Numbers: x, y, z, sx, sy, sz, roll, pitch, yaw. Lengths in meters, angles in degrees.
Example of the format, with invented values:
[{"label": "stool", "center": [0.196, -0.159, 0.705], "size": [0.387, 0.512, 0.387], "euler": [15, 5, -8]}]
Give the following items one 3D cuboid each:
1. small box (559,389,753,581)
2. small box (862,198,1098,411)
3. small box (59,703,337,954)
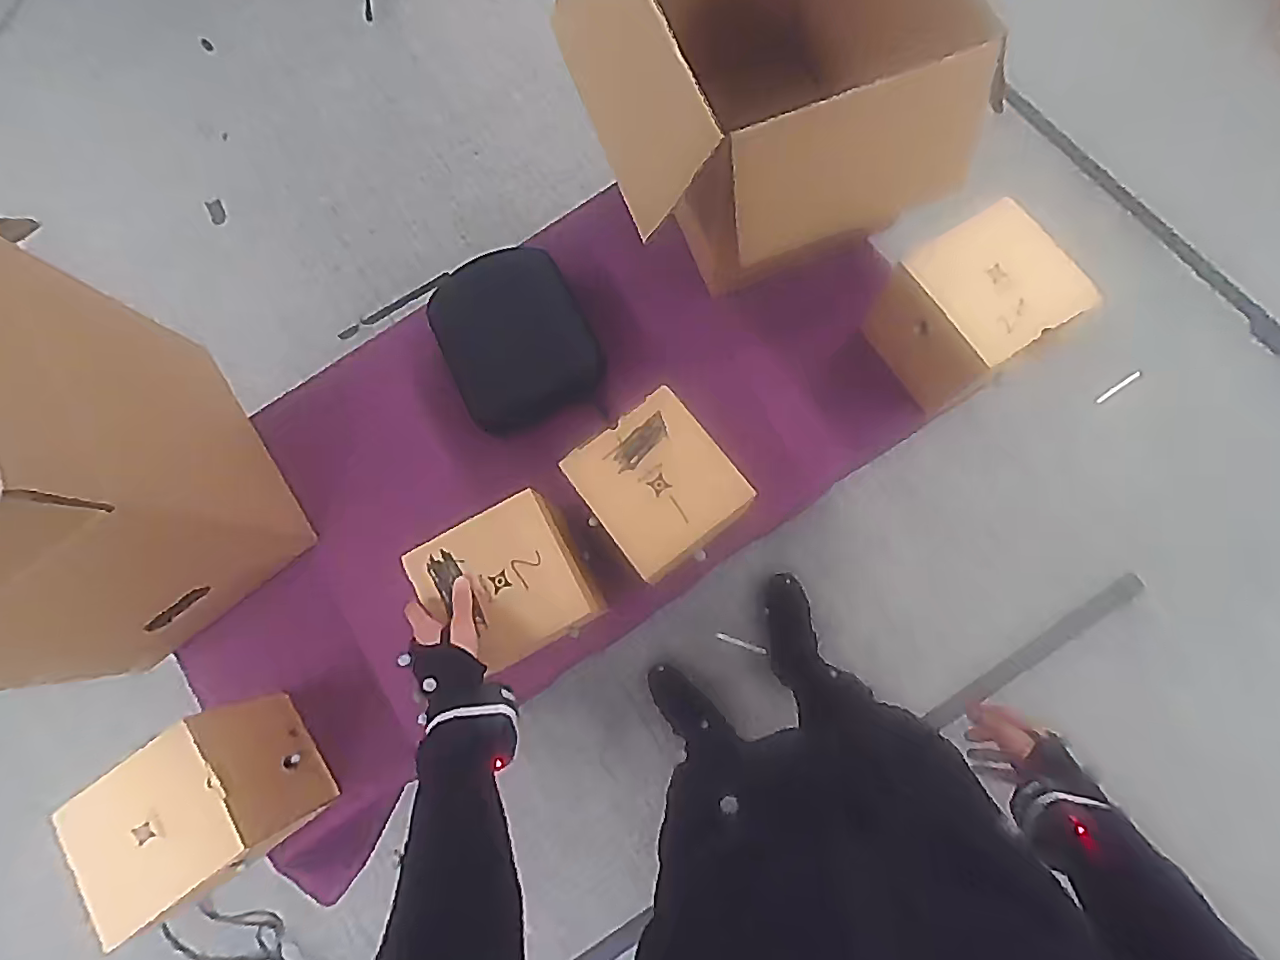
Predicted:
[{"label": "small box", "center": [0.022, 0.018, 0.710], "size": [0.168, 0.176, 0.179], "euler": [-38, 78, -4]}, {"label": "small box", "center": [0.432, -0.223, 0.726], "size": [0.168, 0.176, 0.179], "euler": [-31, 76, -2]}, {"label": "small box", "center": [-0.528, 0.407, 0.670], "size": [0.179, 0.176, 0.168], "euler": [-37, 77, -5]}]
